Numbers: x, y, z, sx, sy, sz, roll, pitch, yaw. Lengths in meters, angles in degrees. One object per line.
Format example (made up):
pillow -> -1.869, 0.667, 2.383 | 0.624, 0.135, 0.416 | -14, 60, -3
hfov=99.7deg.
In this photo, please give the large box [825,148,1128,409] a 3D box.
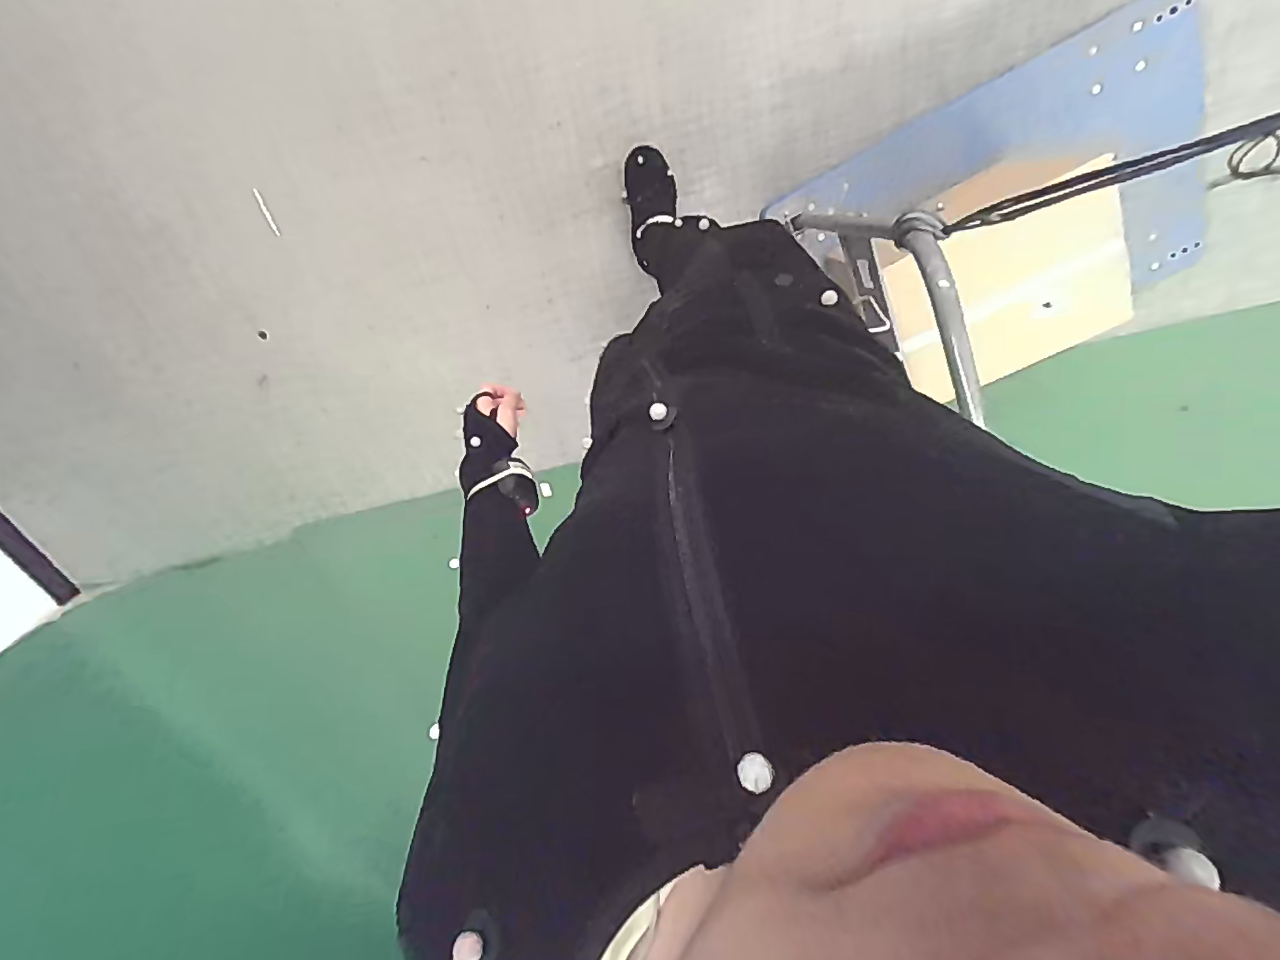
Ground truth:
large box -> 0.664, -0.411, 1.122 | 0.408, 0.320, 0.320 | -25, 116, 13
